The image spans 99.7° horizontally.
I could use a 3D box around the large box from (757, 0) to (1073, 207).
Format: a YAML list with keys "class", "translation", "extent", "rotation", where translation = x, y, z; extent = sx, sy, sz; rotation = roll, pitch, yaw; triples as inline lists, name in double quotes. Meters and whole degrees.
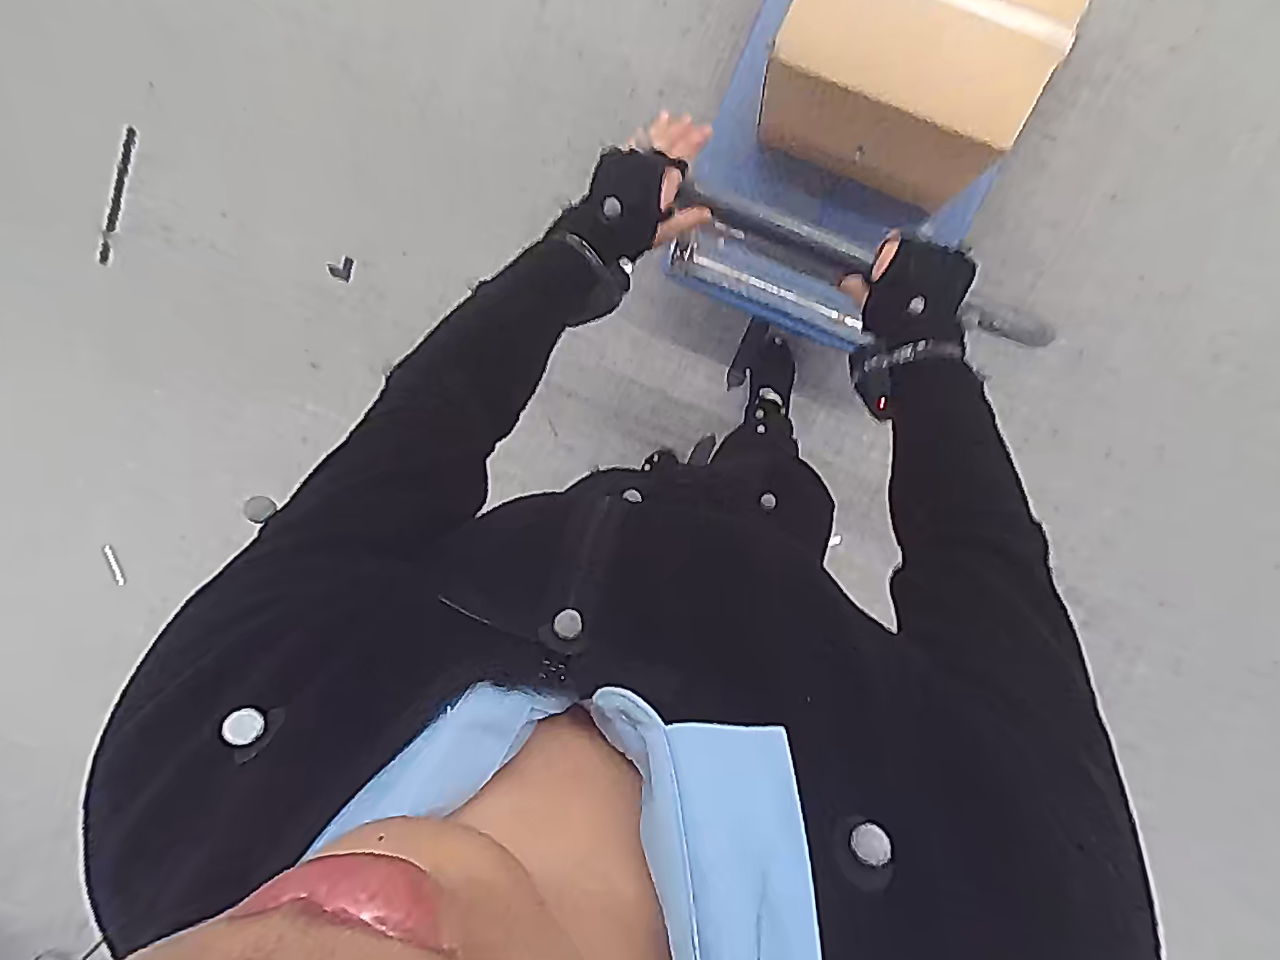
- class: "large box"
  translation: [0.465, -0.759, 0.979]
  extent: [0.408, 0.320, 0.320]
  rotation: [25, 102, 4]
